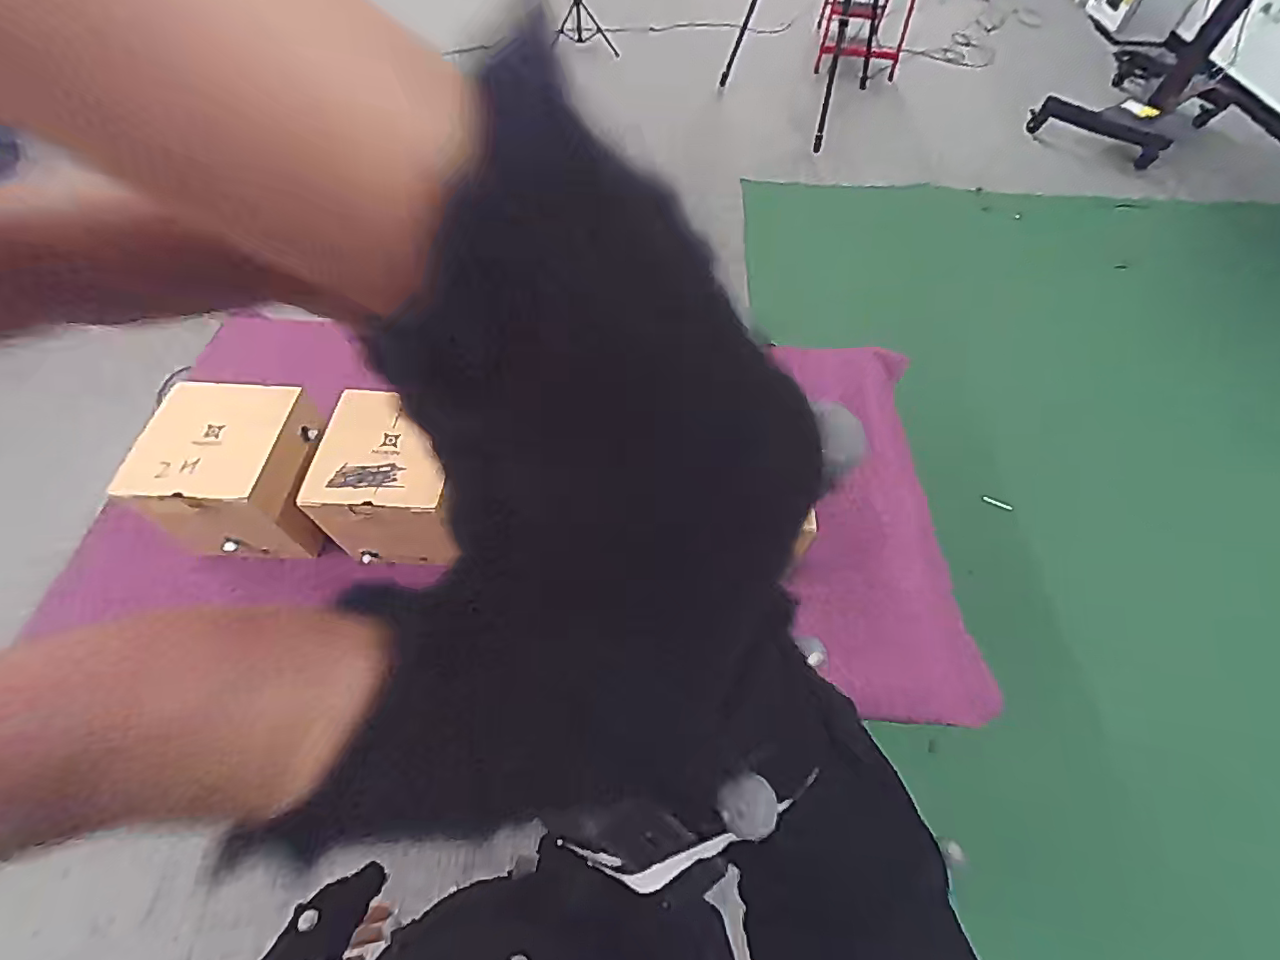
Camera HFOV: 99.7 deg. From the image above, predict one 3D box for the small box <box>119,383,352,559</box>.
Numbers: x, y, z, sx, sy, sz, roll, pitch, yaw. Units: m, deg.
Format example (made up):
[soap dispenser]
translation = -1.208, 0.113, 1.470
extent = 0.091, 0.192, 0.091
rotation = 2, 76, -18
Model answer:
[small box]
translation = -0.526, -0.009, 0.741
extent = 0.168, 0.176, 0.179
rotation = 3, 58, 0
